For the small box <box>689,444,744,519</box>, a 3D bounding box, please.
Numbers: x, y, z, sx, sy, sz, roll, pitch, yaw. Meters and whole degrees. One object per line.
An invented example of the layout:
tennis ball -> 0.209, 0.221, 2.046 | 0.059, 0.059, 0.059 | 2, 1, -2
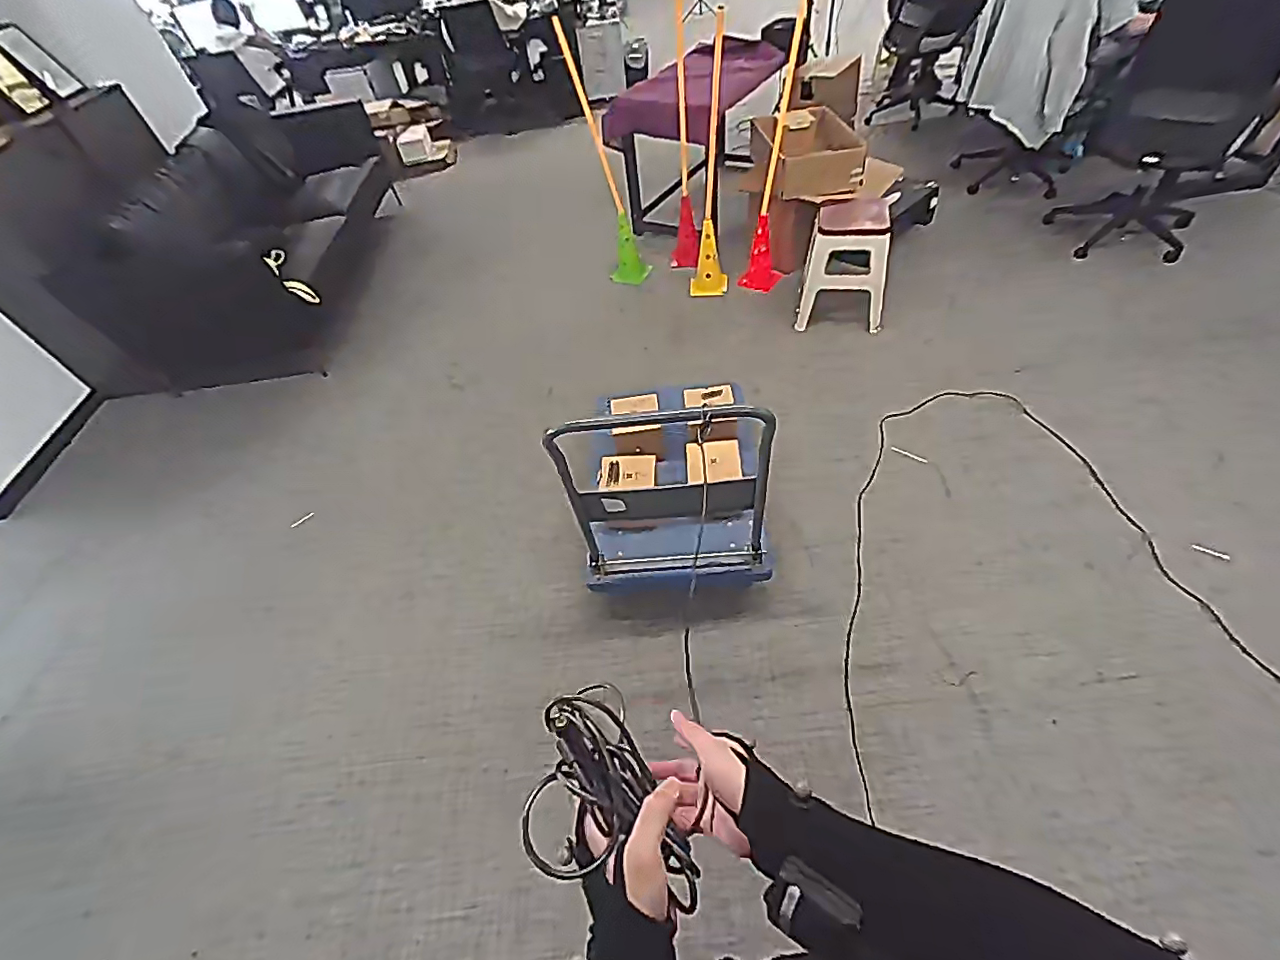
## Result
small box -> 0.243, 0.005, 1.734 | 0.168, 0.176, 0.179 | -3, 52, 7

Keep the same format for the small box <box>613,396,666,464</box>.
small box -> -0.001, -0.170, 1.920 | 0.168, 0.176, 0.179 | -7, 50, 3

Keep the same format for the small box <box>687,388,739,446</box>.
small box -> 0.254, -0.197, 1.898 | 0.168, 0.176, 0.179 | -6, 50, 5
